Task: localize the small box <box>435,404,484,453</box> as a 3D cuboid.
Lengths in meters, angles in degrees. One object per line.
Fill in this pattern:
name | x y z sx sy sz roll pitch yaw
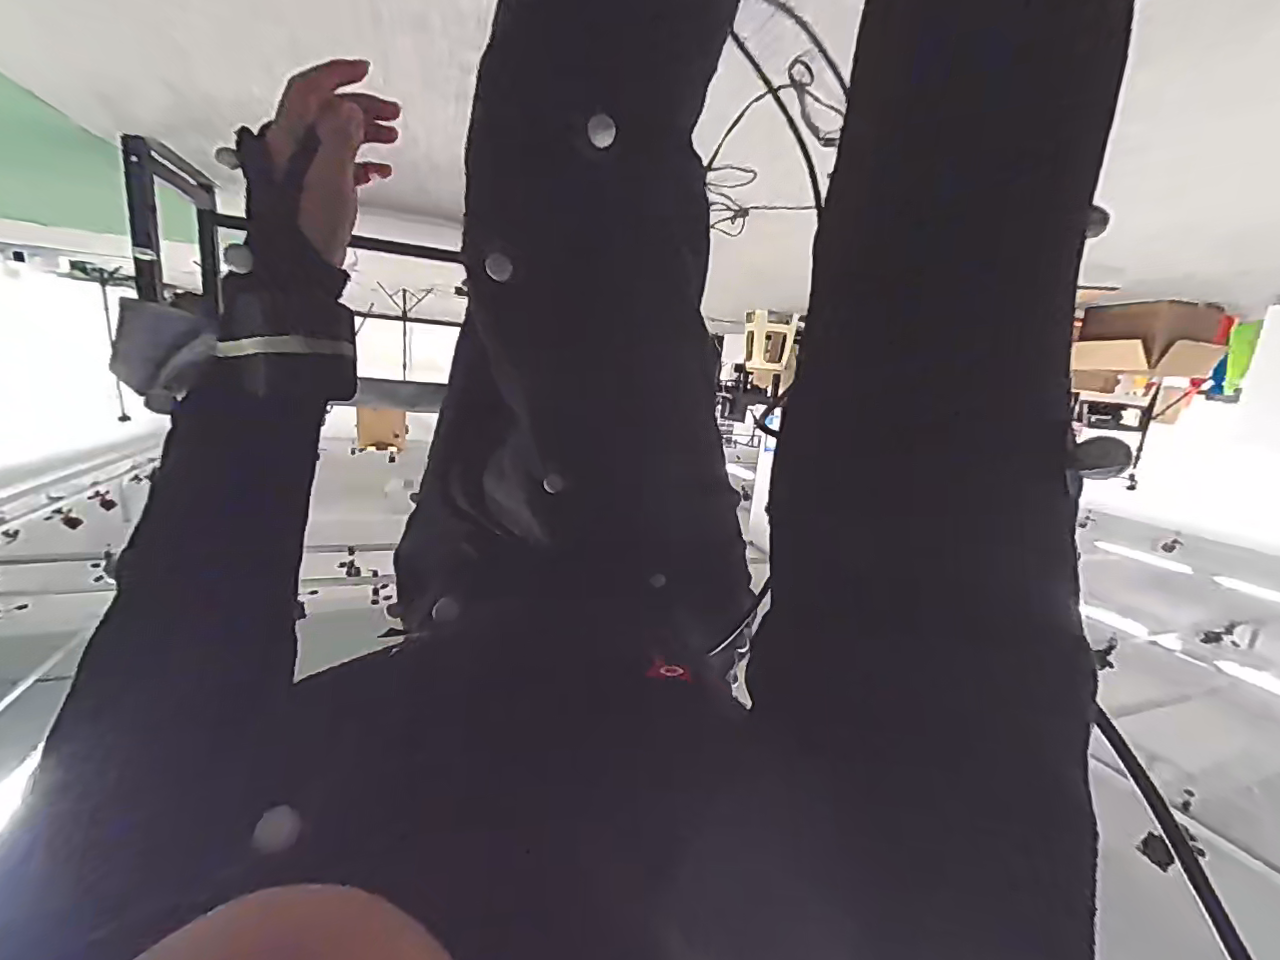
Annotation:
small box | -0.720 -0.209 2.152 0.168 0.176 0.179 1 -166 -26
